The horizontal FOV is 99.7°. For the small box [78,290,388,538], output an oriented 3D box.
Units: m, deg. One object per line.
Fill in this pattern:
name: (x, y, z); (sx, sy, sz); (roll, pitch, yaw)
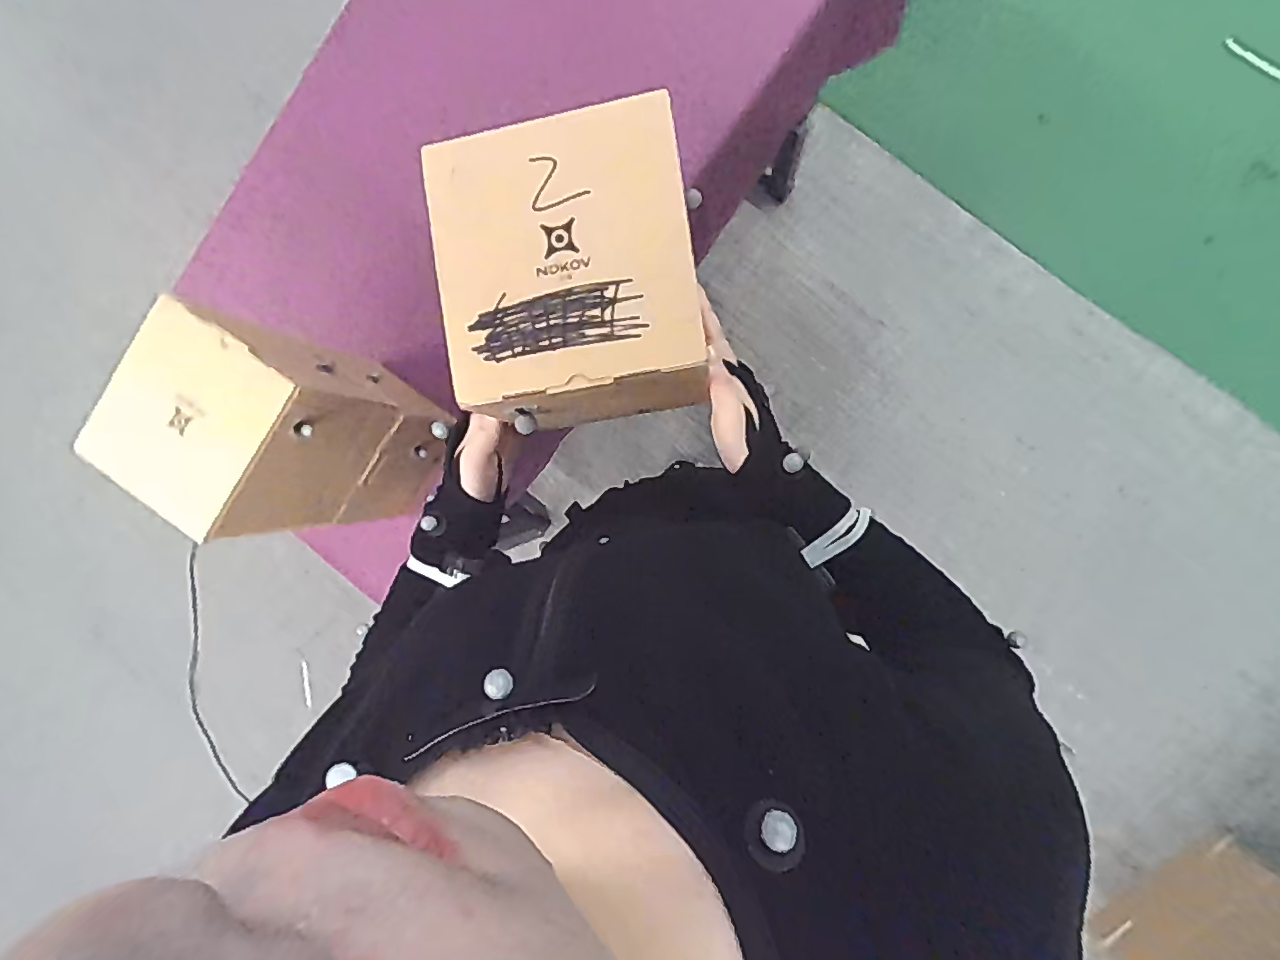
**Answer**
small box: (-0.410, -0.060, 0.576); (0.168, 0.176, 0.179); (33, 93, 5)

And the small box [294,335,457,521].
small box: (-0.387, -0.066, 0.737); (0.179, 0.176, 0.168); (35, 94, 6)
